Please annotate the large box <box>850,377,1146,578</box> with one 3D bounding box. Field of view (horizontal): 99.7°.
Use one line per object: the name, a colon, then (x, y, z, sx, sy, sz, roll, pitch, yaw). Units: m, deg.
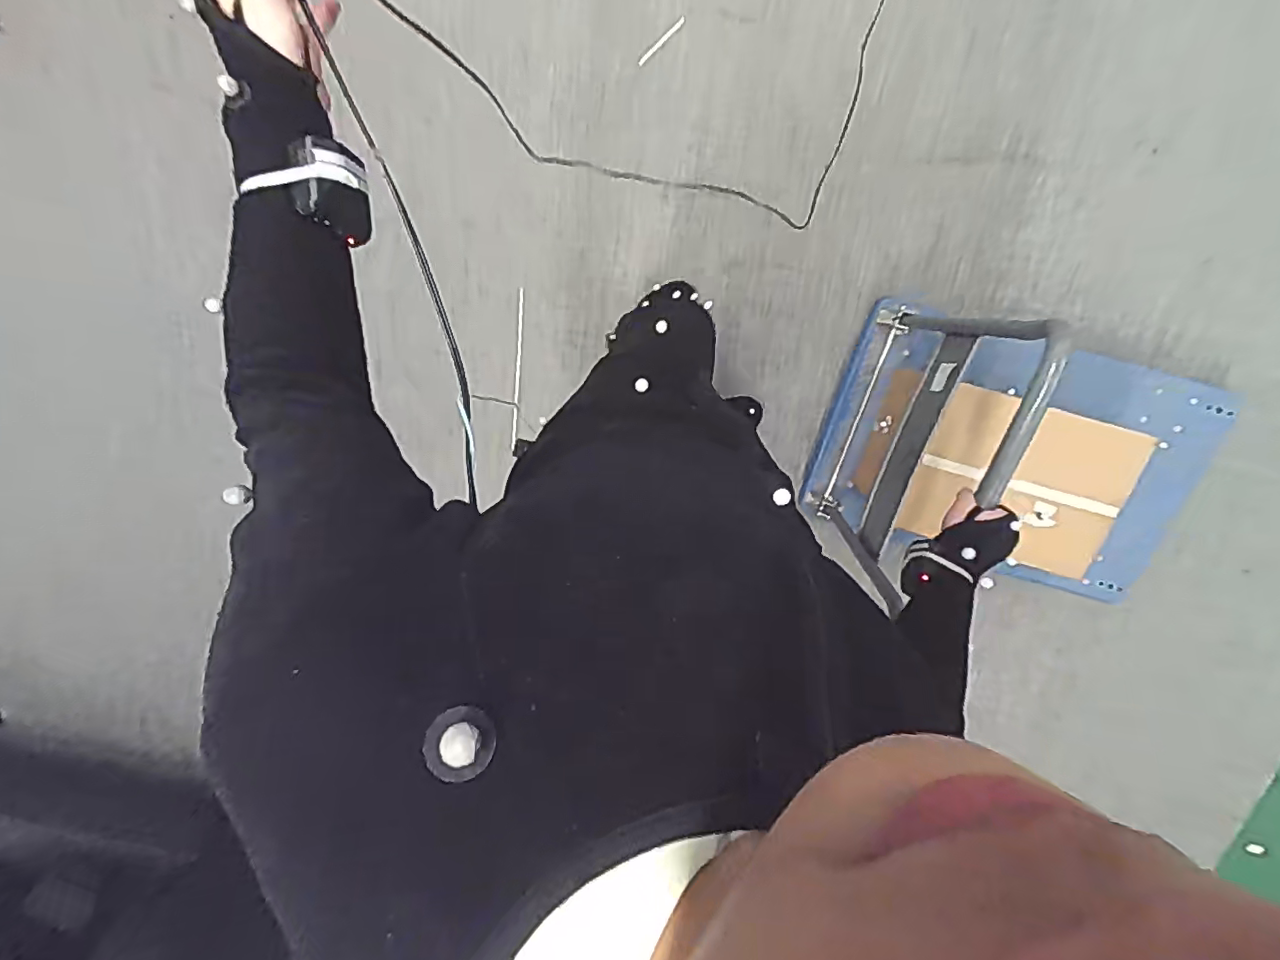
large box: (0.751, -0.028, 1.217, 0.408, 0.320, 0.320, 16, 107, 2)
